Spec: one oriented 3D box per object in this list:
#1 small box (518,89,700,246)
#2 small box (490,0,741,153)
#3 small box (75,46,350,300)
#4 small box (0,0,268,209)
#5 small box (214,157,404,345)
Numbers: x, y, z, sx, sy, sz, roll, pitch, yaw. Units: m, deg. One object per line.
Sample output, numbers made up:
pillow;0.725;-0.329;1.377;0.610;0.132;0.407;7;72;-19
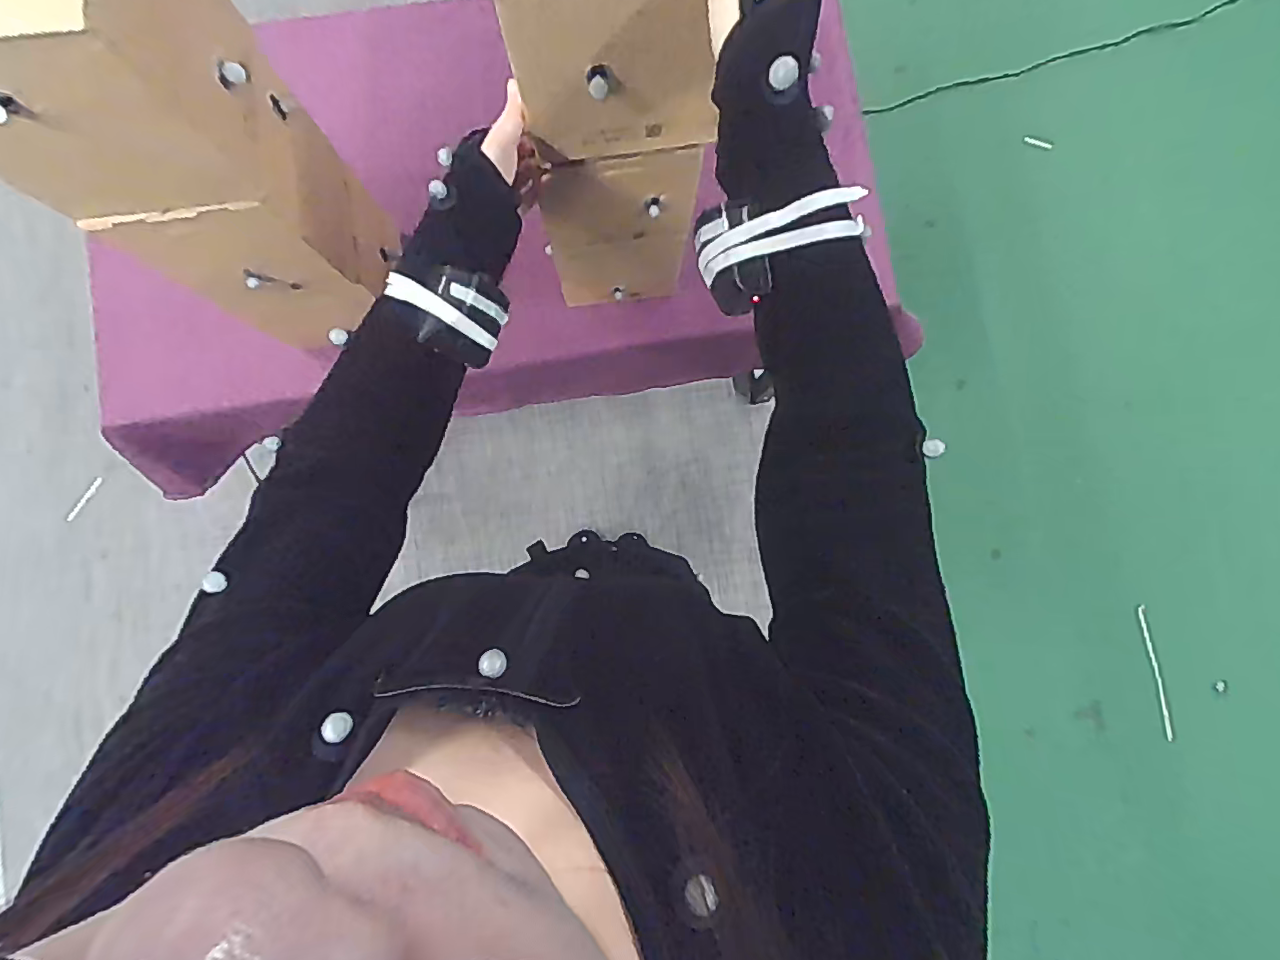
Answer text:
small box;-0.037;-0.376;0.588;0.168;0.176;0.179;-9;86;-3
small box;-0.021;-0.380;0.410;0.168;0.176;0.179;-8;87;-1
small box;-0.435;-0.315;0.571;0.168;0.176;0.179;-9;86;-2
small box;-0.425;-0.330;0.407;0.179;0.176;0.168;-7;86;-3
small box;-0.440;-0.298;0.735;0.179;0.176;0.168;-11;86;-3
